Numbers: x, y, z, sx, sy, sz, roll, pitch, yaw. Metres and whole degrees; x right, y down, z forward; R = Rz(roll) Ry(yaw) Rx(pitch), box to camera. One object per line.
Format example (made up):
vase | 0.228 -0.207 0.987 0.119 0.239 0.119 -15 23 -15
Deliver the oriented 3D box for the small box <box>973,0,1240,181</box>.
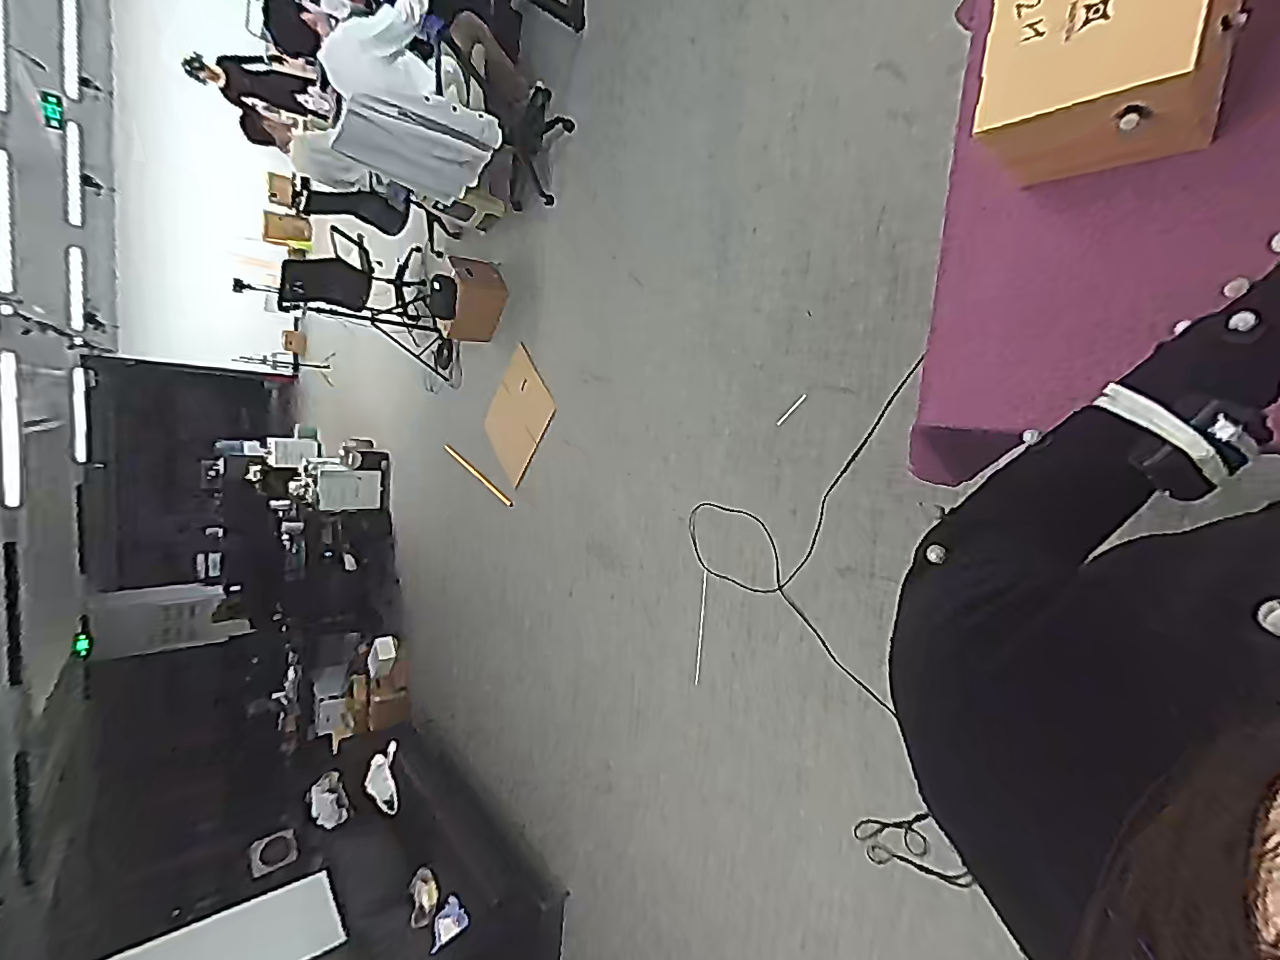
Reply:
small box | 0.493 -0.447 0.573 0.179 0.176 0.168 15 101 50
